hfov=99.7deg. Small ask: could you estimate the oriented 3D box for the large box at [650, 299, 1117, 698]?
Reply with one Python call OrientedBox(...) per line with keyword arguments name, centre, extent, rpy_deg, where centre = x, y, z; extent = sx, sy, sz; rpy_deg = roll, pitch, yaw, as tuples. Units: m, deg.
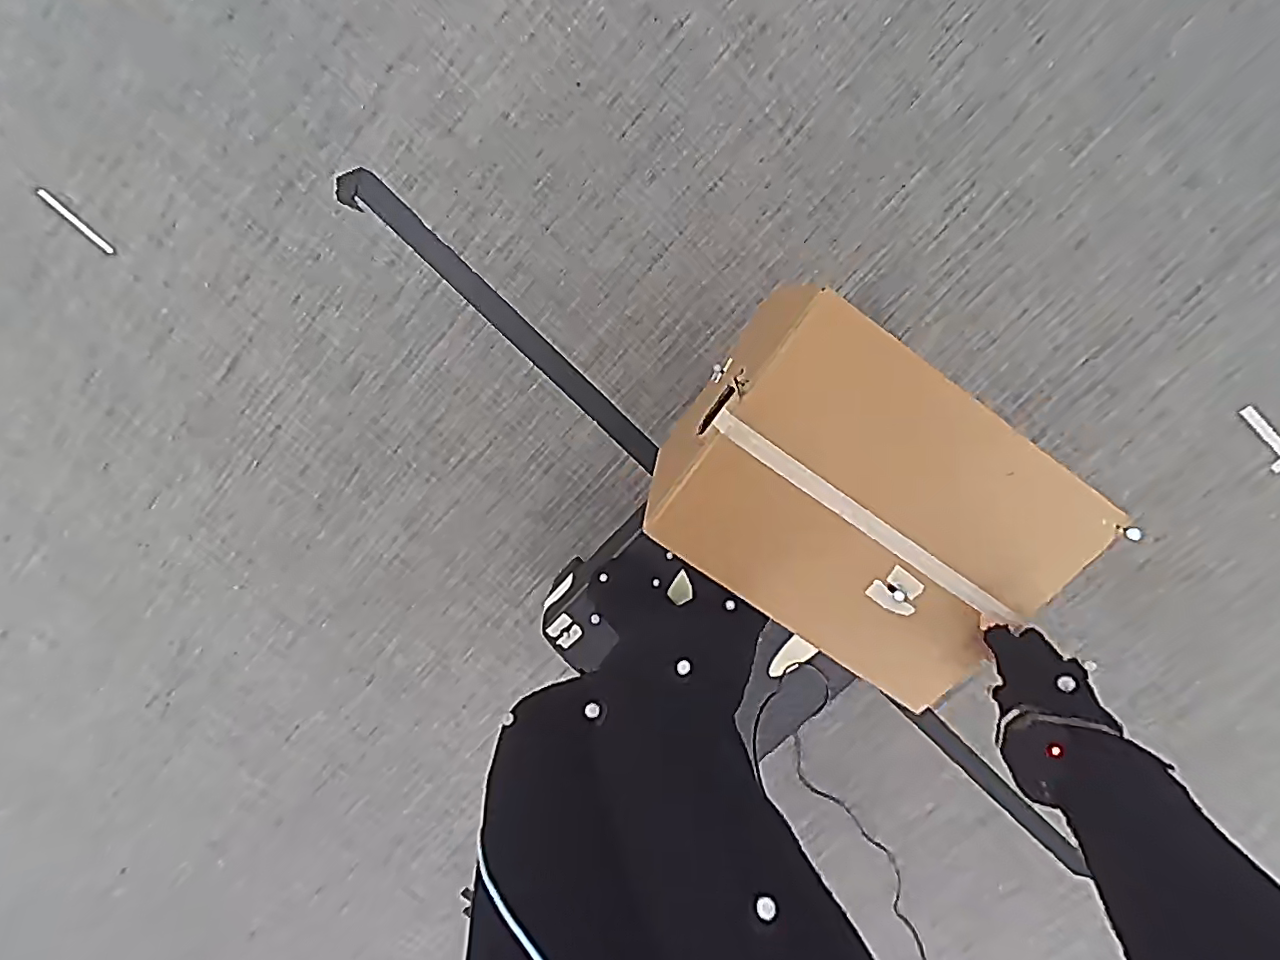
OrientedBox(name="large box", centre=(0.264, -0.003, 0.730), extent=(0.408, 0.320, 0.320), rpy_deg=(33, 109, -7))
